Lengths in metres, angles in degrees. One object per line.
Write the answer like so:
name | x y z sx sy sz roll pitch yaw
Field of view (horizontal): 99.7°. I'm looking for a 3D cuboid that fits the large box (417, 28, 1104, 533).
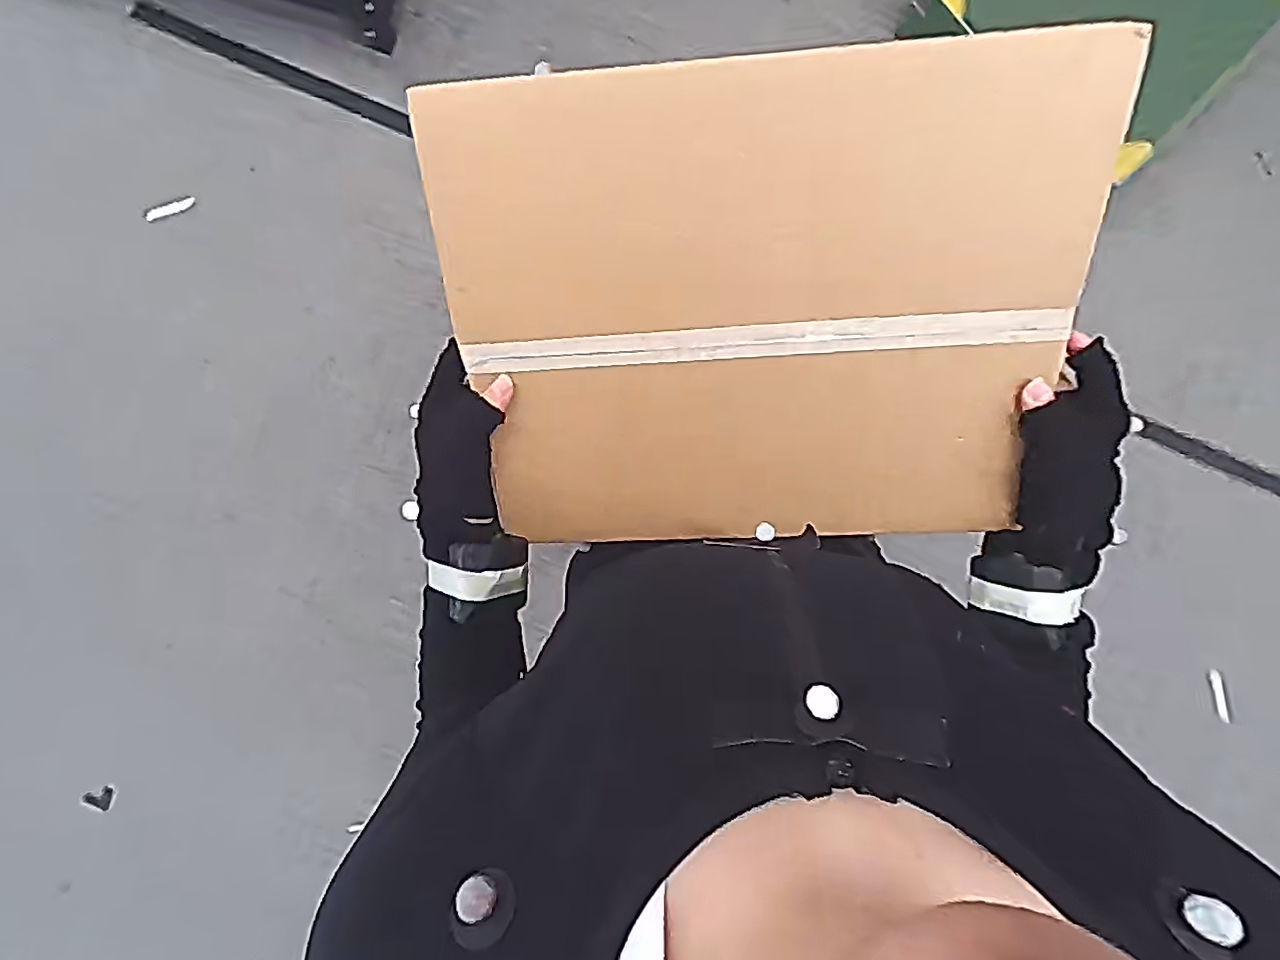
large box | 0.076 -0.168 0.510 0.408 0.320 0.320 -2 118 4
